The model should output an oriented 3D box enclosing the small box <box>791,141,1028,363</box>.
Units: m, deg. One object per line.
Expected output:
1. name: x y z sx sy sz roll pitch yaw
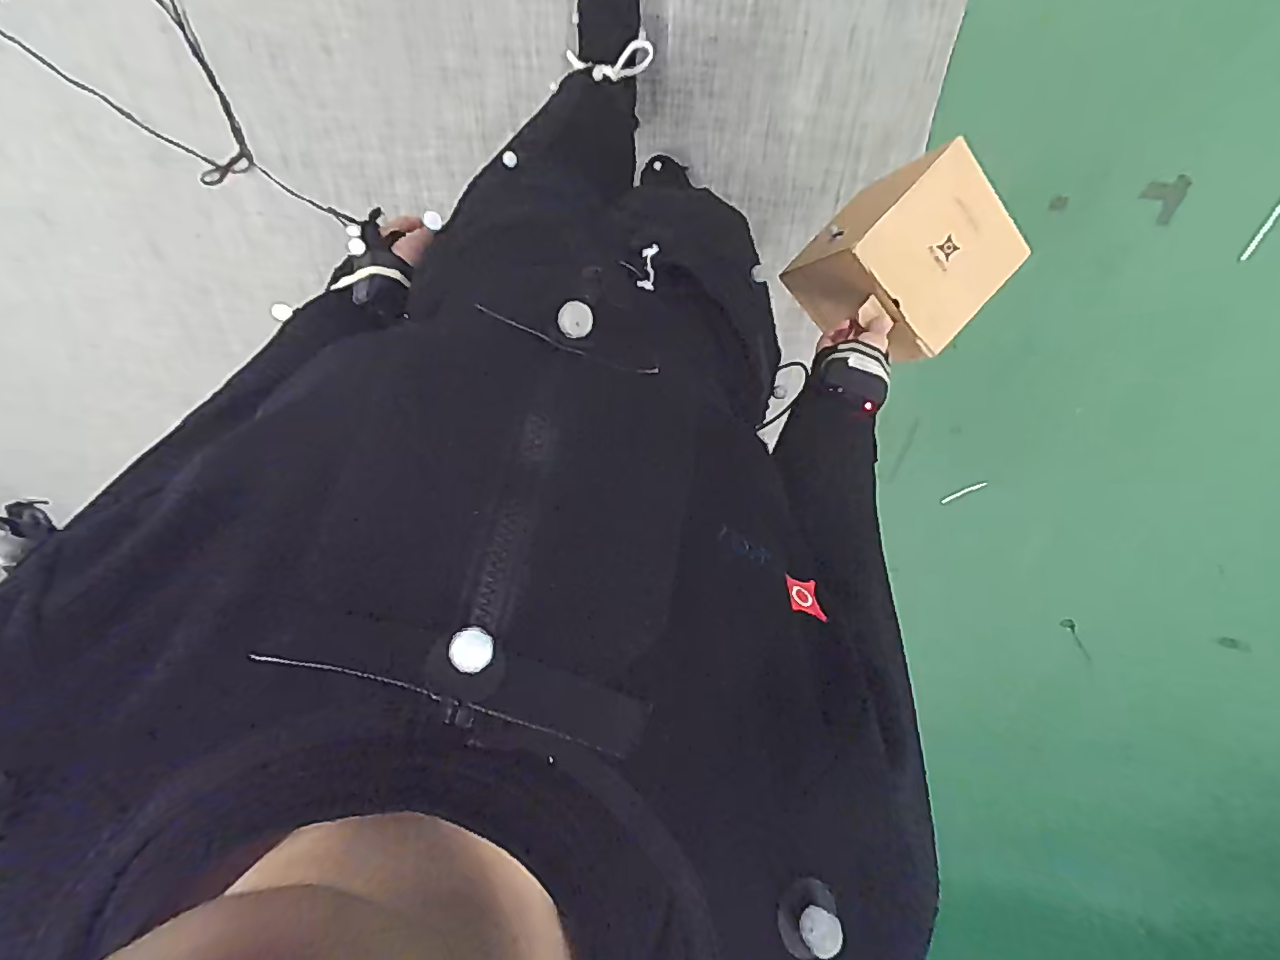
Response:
1. small box: 0.316 -0.262 0.673 0.168 0.176 0.179 44 86 -18
